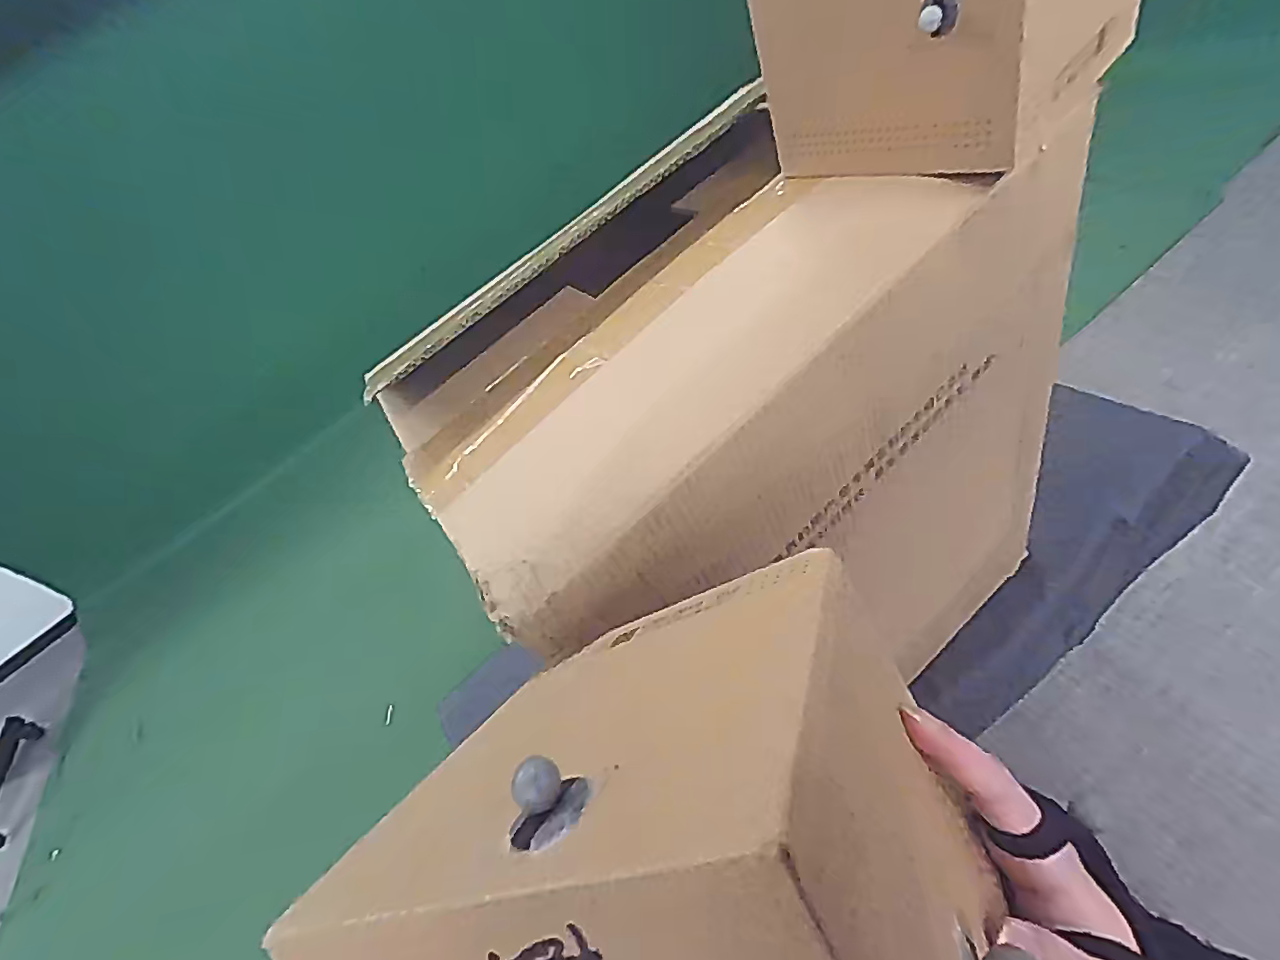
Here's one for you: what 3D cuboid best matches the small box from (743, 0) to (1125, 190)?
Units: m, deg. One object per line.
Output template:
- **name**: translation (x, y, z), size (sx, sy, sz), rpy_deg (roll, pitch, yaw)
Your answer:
- **small box**: translation (0.196, -0.316, 0.360), size (0.168, 0.176, 0.179), rpy_deg (-45, 44, -17)
